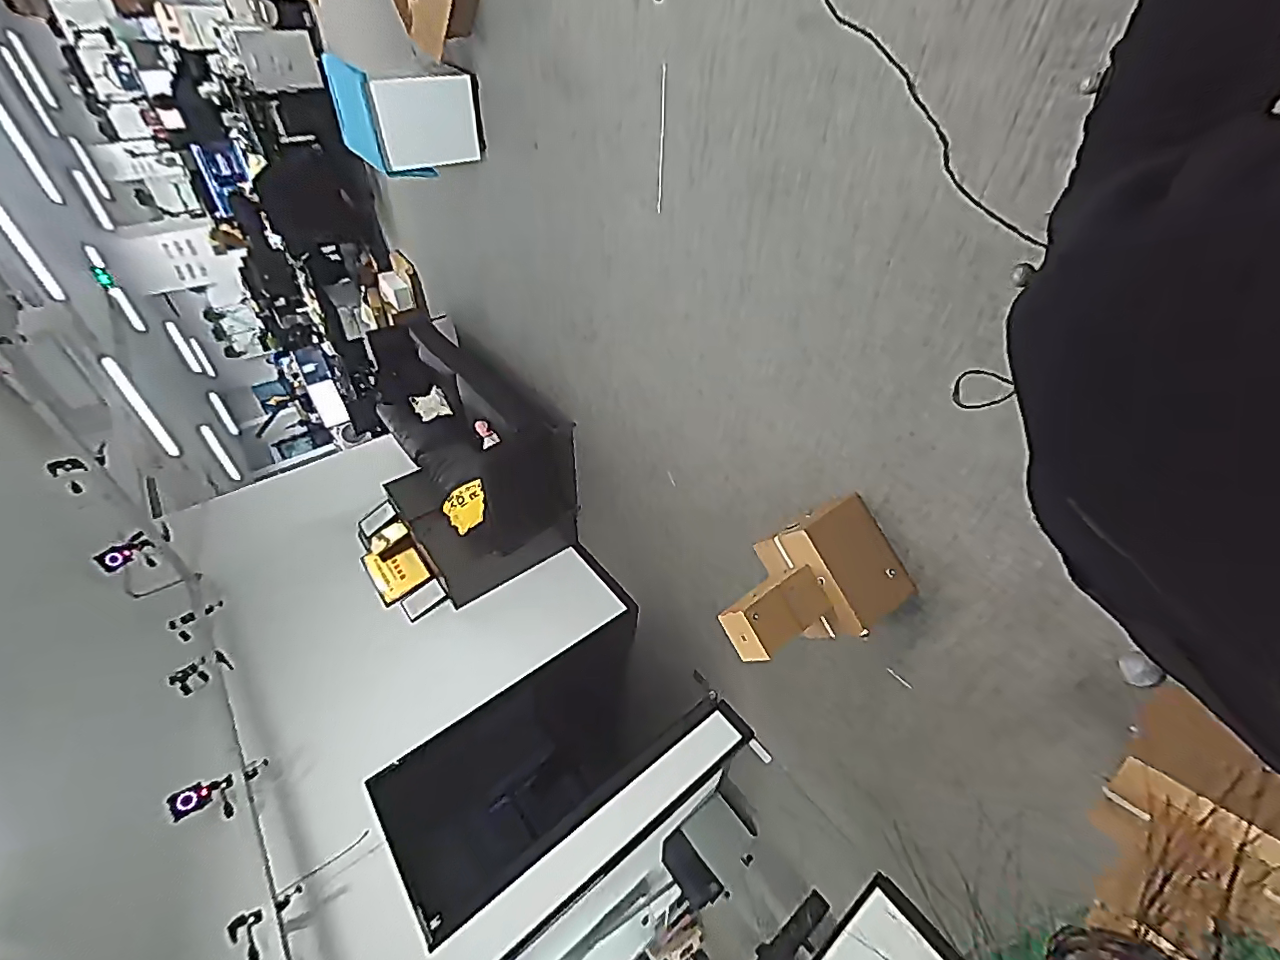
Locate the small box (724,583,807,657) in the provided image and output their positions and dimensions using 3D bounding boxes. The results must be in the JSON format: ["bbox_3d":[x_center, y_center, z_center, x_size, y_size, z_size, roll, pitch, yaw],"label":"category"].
[{"bbox_3d":[0.421,0.468,1.808,0.179,0.176,0.168,60,152,7],"label":"small box"}]

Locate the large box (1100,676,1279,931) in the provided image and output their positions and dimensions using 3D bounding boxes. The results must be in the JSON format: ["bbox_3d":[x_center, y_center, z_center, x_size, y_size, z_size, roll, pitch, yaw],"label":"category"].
[{"bbox_3d":[1.409,0.750,1.259,0.408,0.320,0.320,29,139,45],"label":"large box"}]

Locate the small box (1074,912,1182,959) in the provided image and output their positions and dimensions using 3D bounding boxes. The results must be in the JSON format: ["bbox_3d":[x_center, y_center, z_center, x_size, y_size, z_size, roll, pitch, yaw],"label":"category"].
[{"bbox_3d":[0.938,0.977,1.022,0.168,0.176,0.179,34,139,43],"label":"small box"}]

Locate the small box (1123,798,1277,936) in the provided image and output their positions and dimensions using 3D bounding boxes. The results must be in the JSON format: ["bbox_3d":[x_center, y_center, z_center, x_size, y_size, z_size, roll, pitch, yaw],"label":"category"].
[{"bbox_3d":[1.200,0.841,1.166,0.179,0.176,0.168,34,140,43],"label":"small box"}]

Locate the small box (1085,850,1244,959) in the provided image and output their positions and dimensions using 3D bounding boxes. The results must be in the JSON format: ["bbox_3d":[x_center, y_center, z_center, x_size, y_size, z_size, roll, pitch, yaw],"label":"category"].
[{"bbox_3d":[1.065,0.907,1.099,0.168,0.176,0.179,35,141,42],"label":"small box"}]
